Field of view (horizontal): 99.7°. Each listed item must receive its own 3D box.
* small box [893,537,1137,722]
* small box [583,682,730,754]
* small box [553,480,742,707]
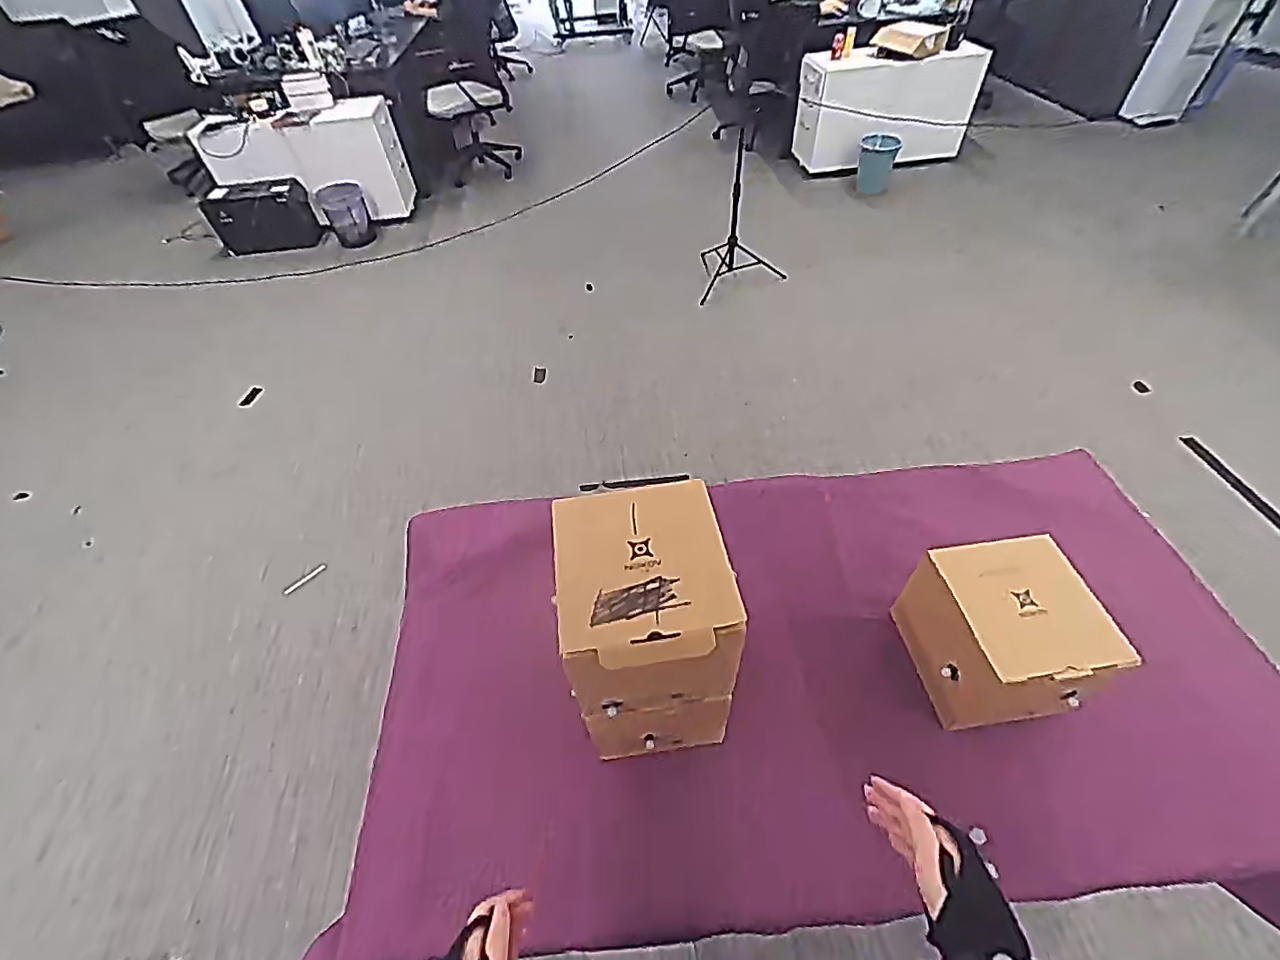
[{"bbox_3d":[0.461,0.200,0.702,0.168,0.176,0.179,-7,49,-2],"label":"small box"},{"bbox_3d":[0.013,0.235,0.706,0.168,0.176,0.179,-7,50,-3],"label":"small box"},{"bbox_3d":[0.004,0.128,0.582,0.168,0.176,0.179,-8,49,-4],"label":"small box"}]
